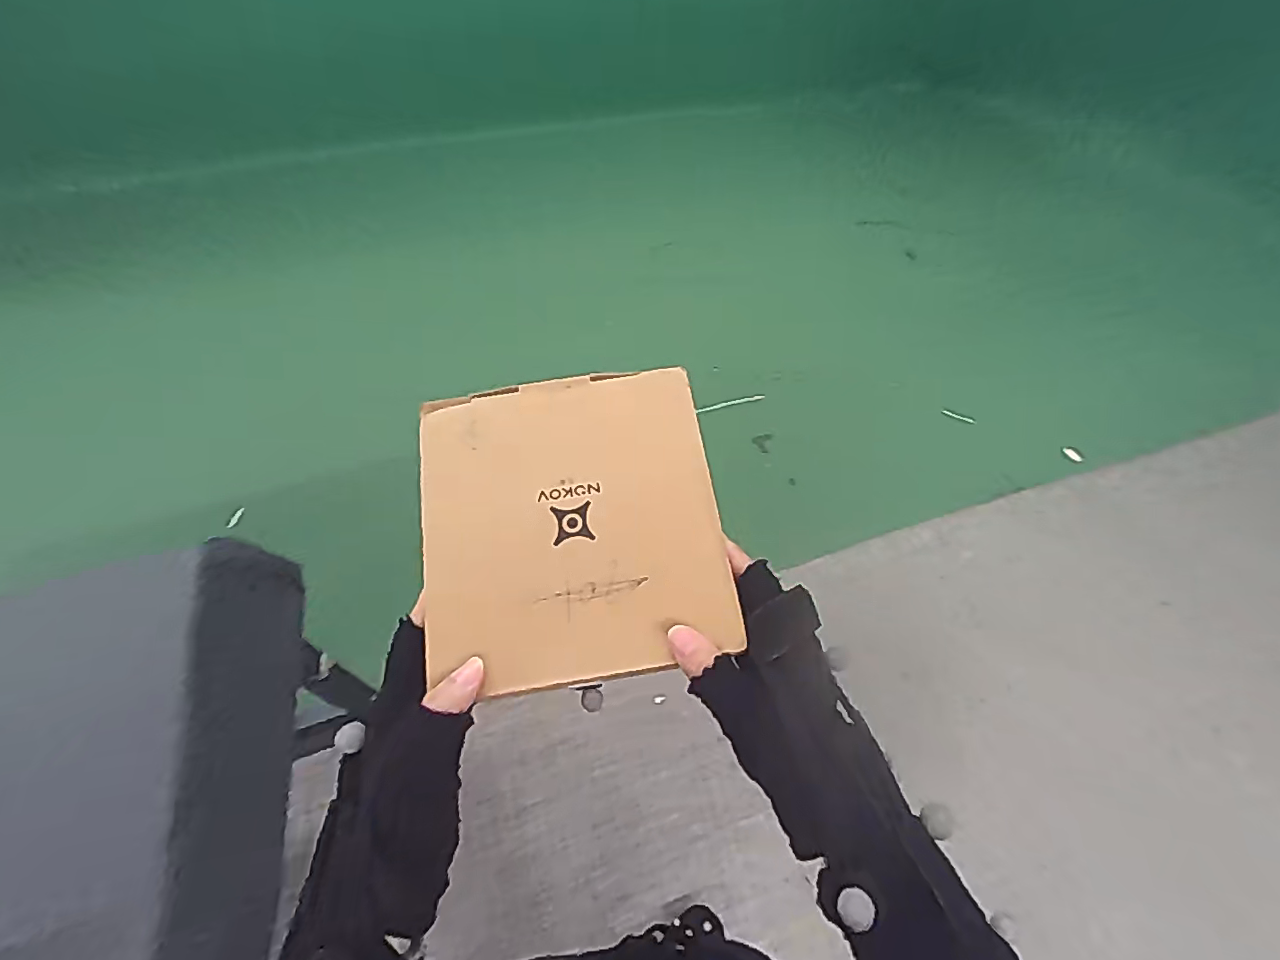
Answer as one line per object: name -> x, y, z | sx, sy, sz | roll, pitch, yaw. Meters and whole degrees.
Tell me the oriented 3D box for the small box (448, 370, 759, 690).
small box -> -0.029, 0.047, 0.388 | 0.168, 0.176, 0.179 | -8, 70, -3
